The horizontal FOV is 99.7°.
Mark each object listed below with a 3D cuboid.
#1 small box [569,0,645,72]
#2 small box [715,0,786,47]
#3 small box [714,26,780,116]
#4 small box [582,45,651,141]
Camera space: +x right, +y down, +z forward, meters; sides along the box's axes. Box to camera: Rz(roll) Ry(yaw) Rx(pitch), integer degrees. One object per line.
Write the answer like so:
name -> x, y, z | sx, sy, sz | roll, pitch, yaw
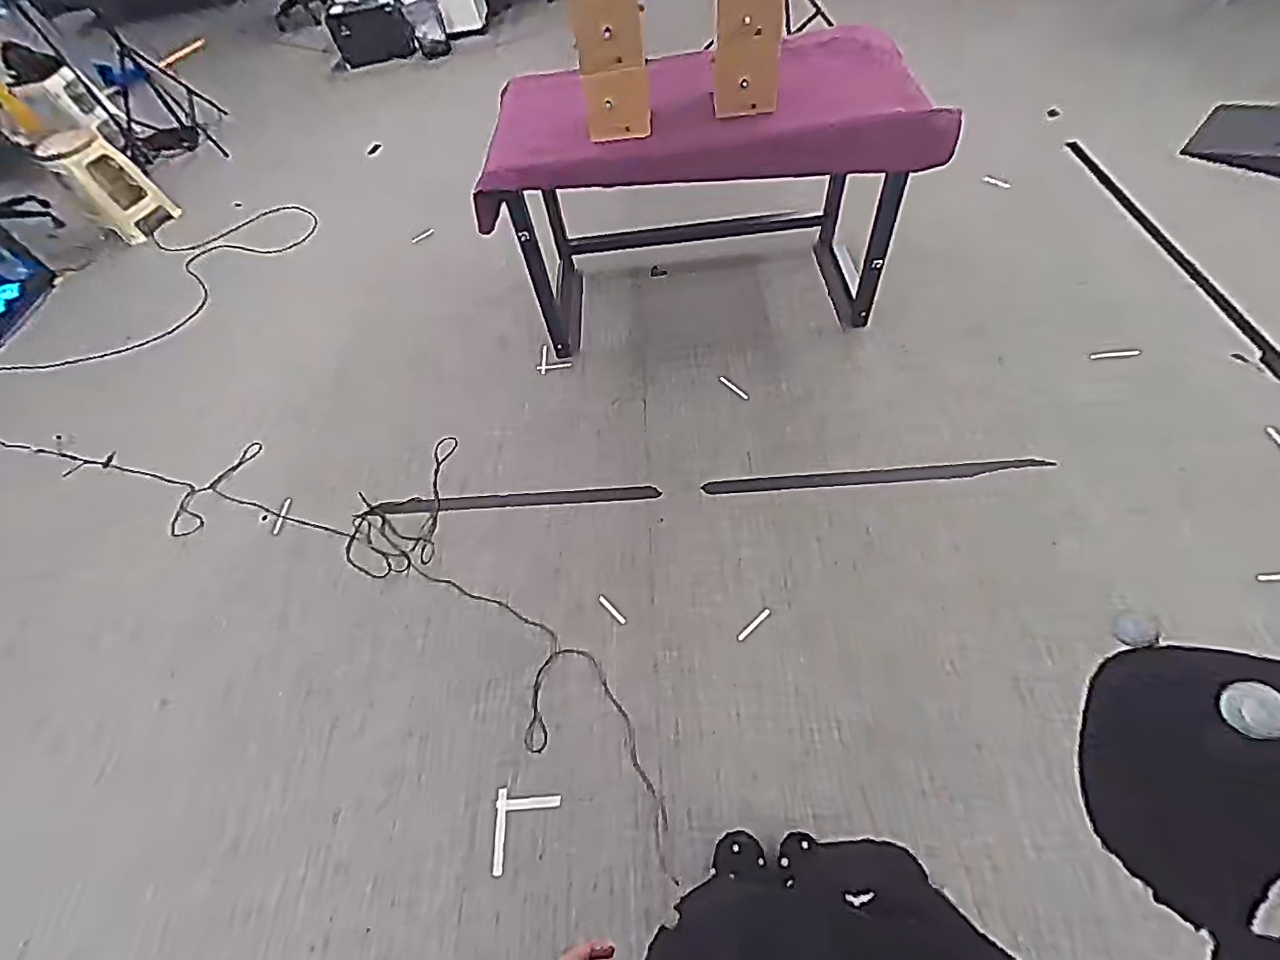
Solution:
small box -> -0.079, -1.163, 1.369 | 0.168, 0.176, 0.179 | -5, 56, 4
small box -> 0.275, -1.226, 1.360 | 0.168, 0.176, 0.179 | -2, 57, 7
small box -> 0.292, -1.133, 1.494 | 0.168, 0.176, 0.179 | -2, 56, 6
small box -> -0.058, -1.067, 1.501 | 0.168, 0.176, 0.179 | -3, 55, 6
